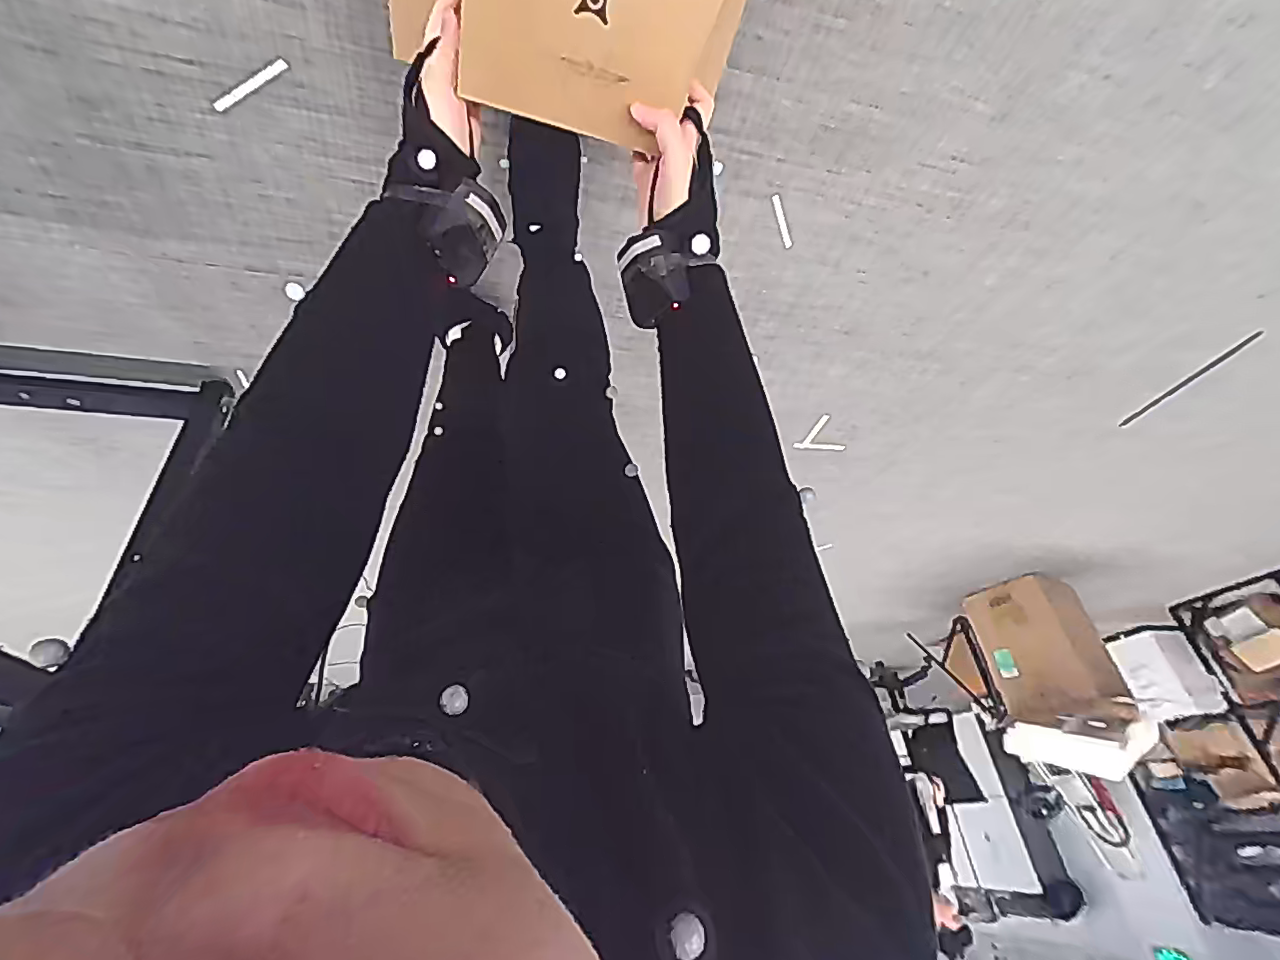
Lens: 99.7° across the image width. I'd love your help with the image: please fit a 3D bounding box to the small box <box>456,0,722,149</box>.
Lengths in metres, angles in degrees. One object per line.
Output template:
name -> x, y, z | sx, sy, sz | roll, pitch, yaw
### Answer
small box -> -0.034, -0.388, 0.384 | 0.168, 0.176, 0.179 | 6, 146, -19
